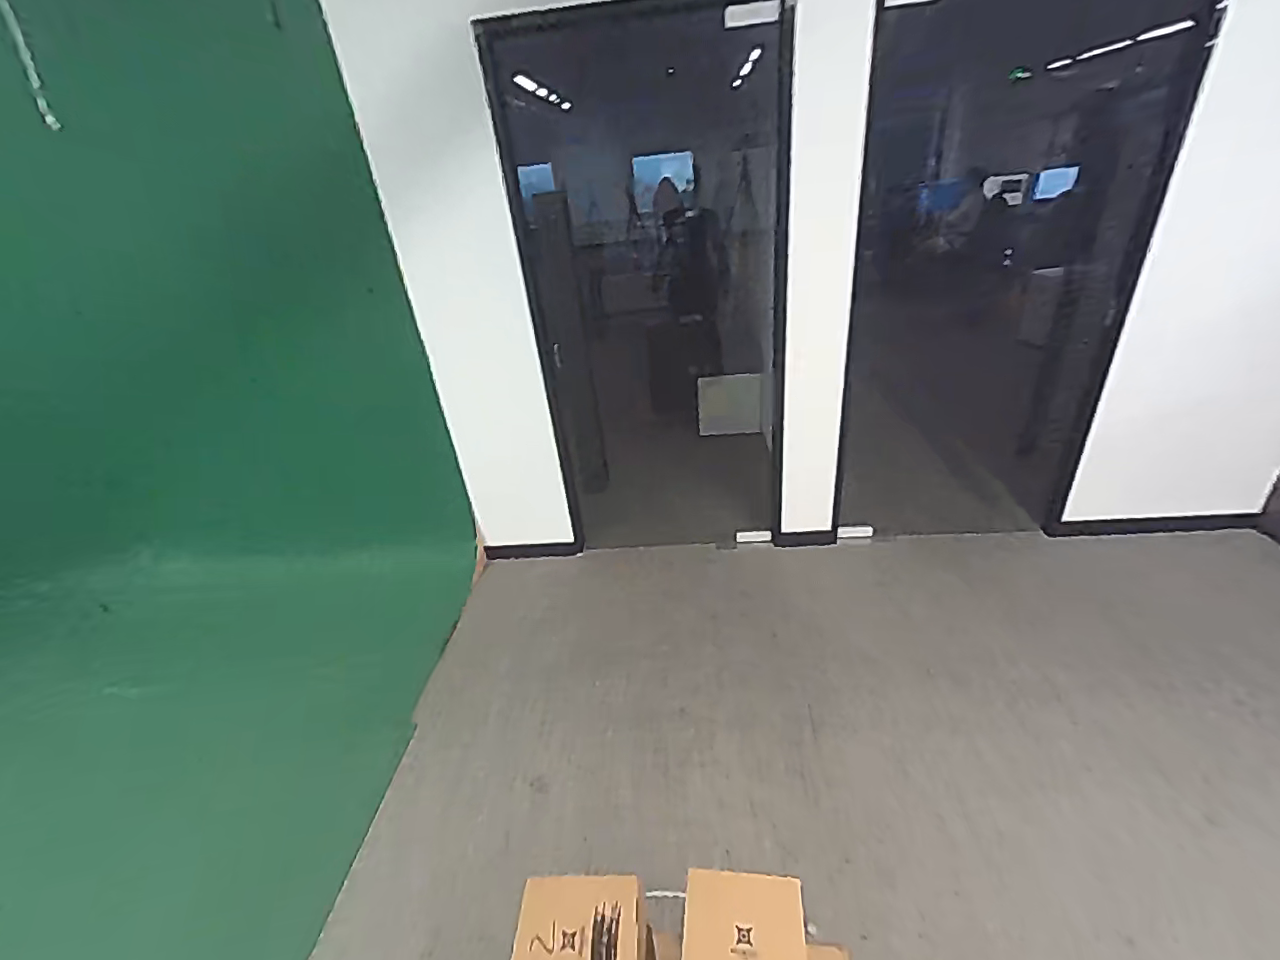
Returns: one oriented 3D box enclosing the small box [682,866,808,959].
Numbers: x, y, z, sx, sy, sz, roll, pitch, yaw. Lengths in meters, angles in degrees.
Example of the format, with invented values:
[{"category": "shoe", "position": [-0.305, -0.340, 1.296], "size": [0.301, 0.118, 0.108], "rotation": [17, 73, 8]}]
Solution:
[{"category": "small box", "position": [0.151, 0.692, 0.763], "size": [0.168, 0.176, 0.179], "rotation": [-3, 29, 12]}]
